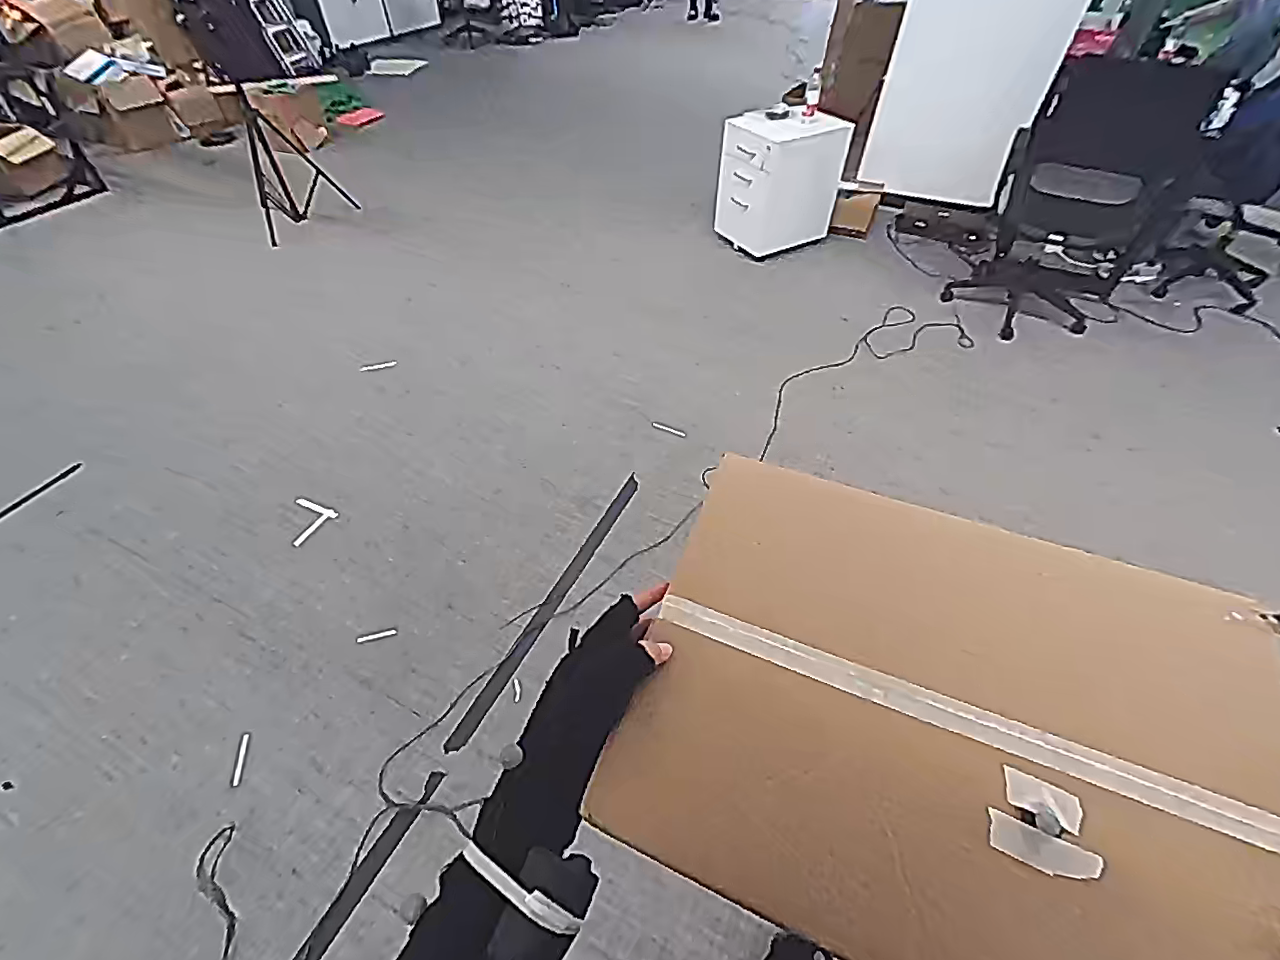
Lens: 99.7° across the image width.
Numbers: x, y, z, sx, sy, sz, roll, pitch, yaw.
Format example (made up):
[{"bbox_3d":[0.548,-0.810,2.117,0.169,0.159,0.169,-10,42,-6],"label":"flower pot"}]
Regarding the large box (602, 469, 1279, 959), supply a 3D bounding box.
[{"bbox_3d":[0.225,0.241,0.514,0.408,0.320,0.320,18,63,18],"label":"large box"}]
